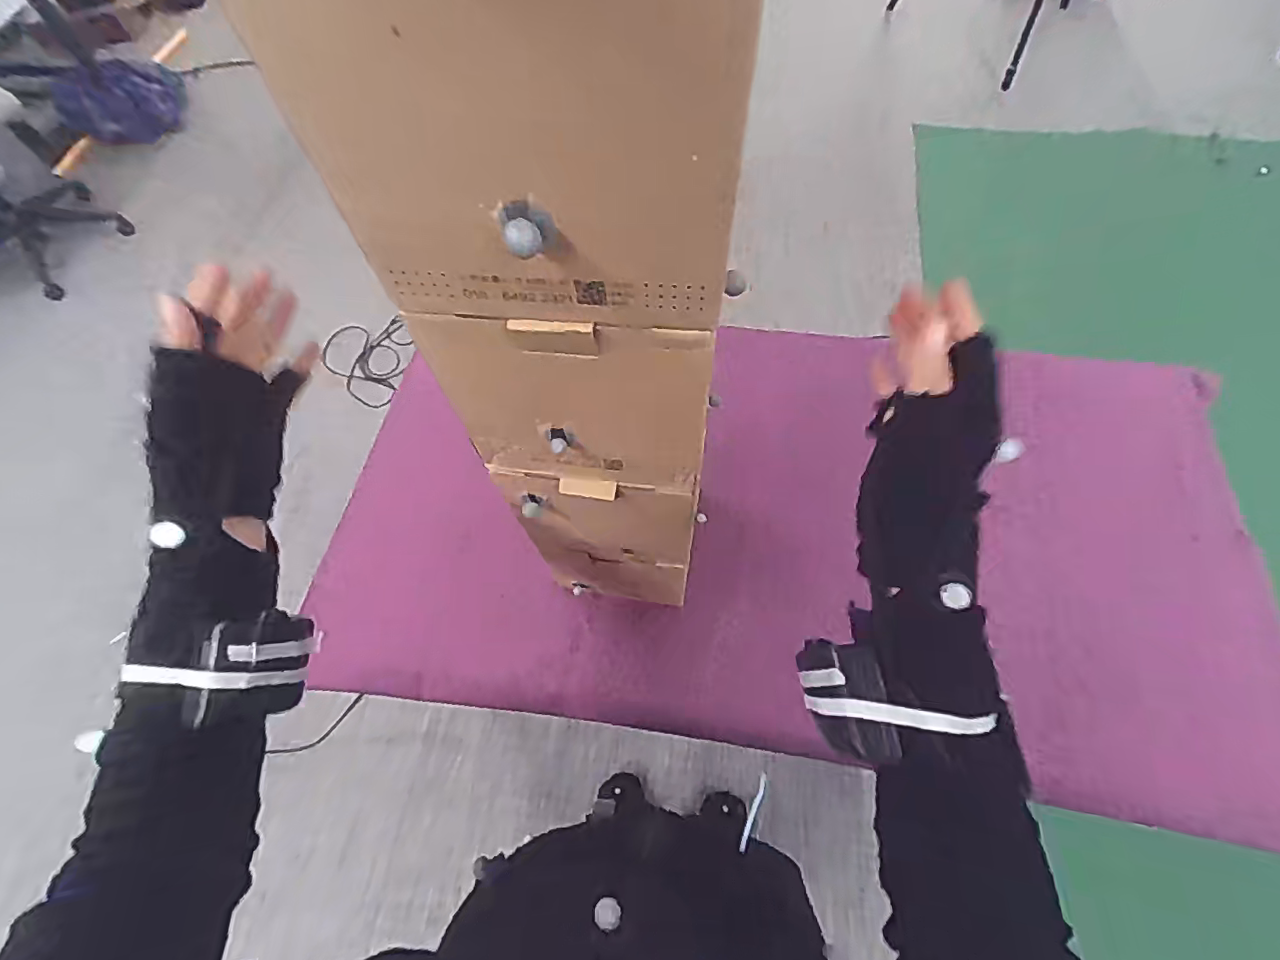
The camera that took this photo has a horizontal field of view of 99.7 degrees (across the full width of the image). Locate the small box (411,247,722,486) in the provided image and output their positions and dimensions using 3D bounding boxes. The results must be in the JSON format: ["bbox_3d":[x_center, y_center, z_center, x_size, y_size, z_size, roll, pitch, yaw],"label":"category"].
[{"bbox_3d":[-0.031,-0.116,0.392,0.168,0.176,0.179,5,63,5],"label":"small box"}]

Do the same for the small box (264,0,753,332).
[{"bbox_3d":[-0.037,-0.195,0.247,0.168,0.176,0.179,5,63,5],"label":"small box"}]

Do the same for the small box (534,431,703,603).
[{"bbox_3d":[-0.016,0.042,0.678,0.168,0.176,0.179,8,63,7],"label":"small box"}]
